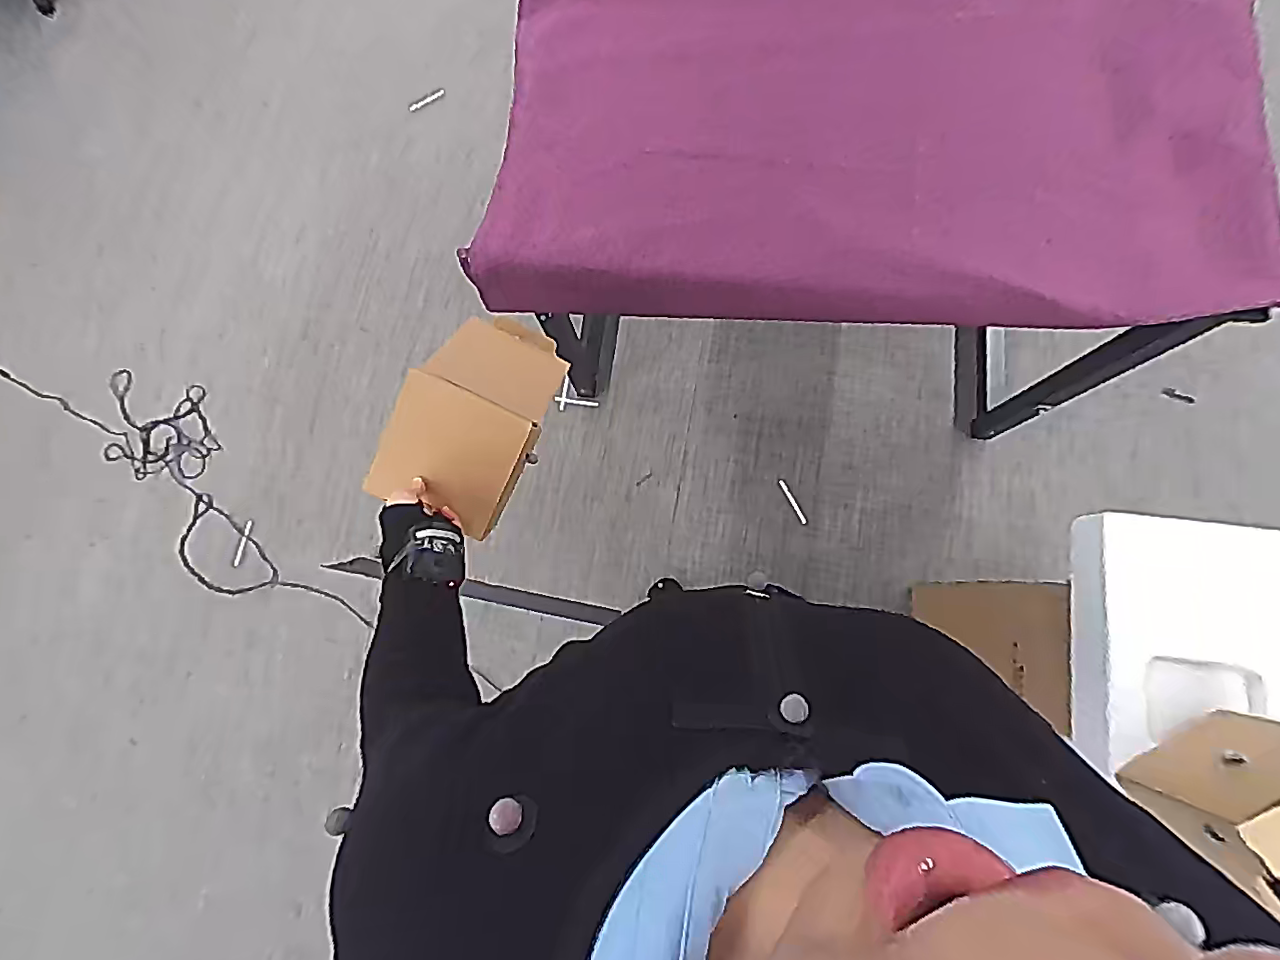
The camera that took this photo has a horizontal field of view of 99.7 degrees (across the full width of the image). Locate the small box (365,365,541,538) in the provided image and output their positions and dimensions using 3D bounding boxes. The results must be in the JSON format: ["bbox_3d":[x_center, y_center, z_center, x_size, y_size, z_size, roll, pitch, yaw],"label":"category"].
[{"bbox_3d":[-0.254,-0.040,0.780,0.168,0.176,0.179,27,89,-8],"label":"small box"}]
